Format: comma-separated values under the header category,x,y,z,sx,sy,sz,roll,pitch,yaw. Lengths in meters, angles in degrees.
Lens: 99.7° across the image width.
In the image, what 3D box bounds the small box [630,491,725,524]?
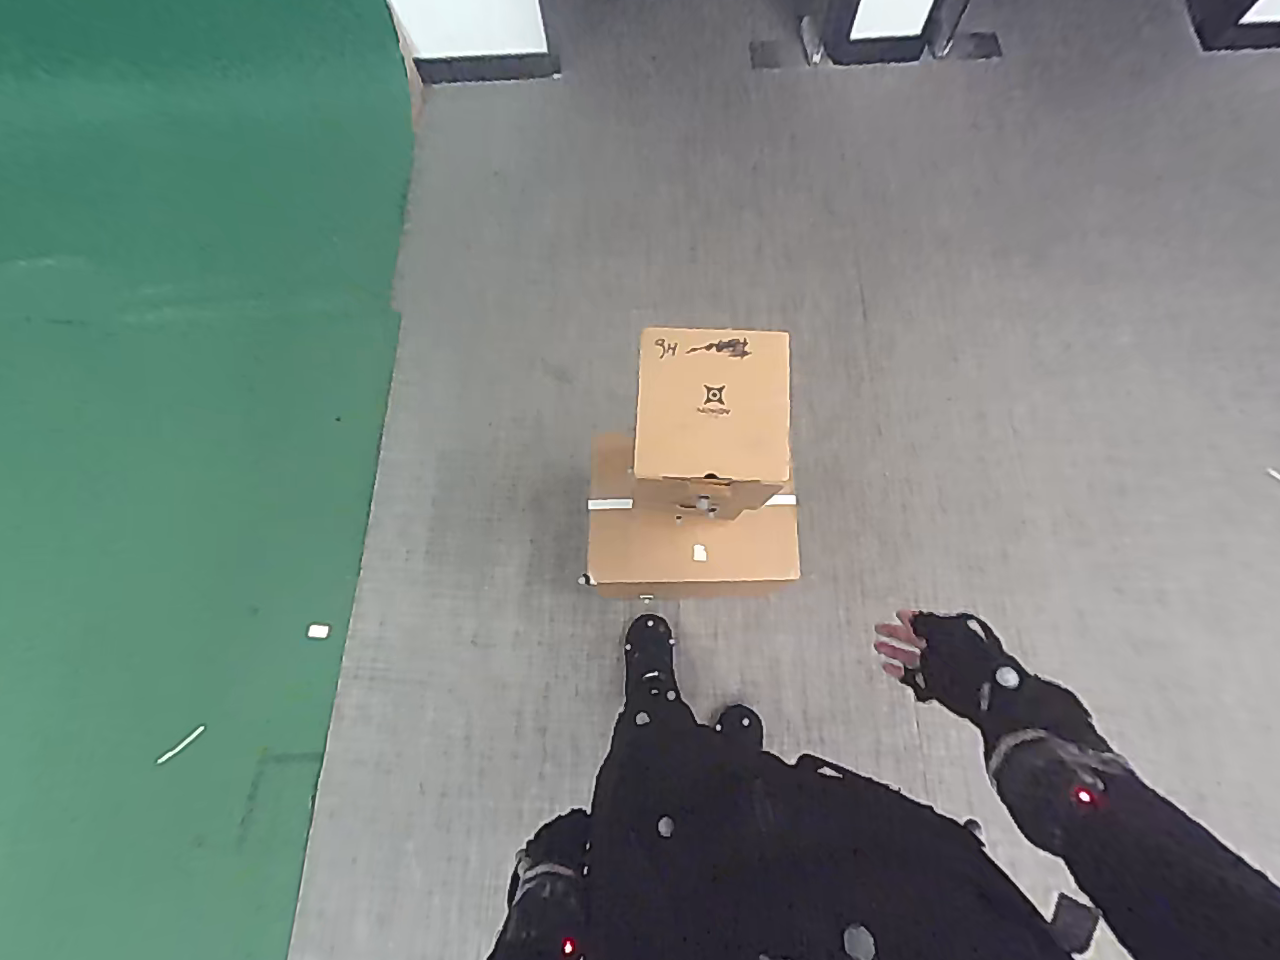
category,x,y,z,sx,sy,sz,roll,pitch,yaw
small box,0.079,-0.017,0.990,0.179,0.176,0.168,5,77,4

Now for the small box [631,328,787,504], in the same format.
category,x,y,z,sx,sy,sz,roll,pitch,yaw
small box,0.081,-0.068,0.671,0.168,0.176,0.179,3,79,3

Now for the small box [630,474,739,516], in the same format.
category,x,y,z,sx,sy,sz,roll,pitch,yaw
small box,0.079,-0.045,0.834,0.168,0.176,0.179,6,77,2
